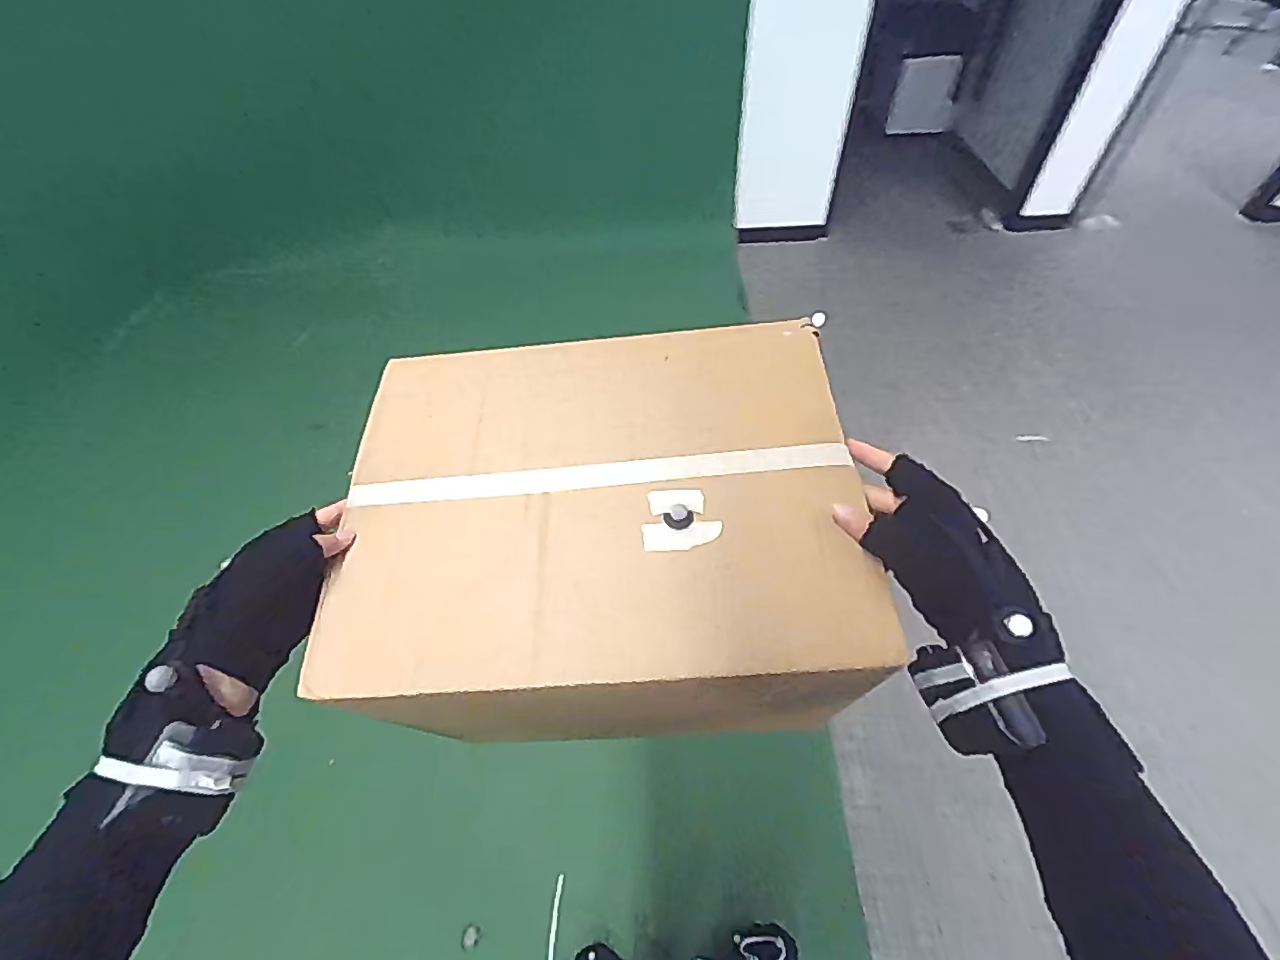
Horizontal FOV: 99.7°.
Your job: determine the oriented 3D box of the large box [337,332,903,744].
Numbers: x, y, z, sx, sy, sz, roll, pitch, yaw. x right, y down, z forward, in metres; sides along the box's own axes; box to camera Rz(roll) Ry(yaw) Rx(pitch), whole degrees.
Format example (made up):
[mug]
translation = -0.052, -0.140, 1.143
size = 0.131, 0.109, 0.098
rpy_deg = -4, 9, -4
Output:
[large box]
translation = -0.012, 0.083, 0.574
size = 0.408, 0.320, 0.320
rpy_deg = -5, 59, 4
